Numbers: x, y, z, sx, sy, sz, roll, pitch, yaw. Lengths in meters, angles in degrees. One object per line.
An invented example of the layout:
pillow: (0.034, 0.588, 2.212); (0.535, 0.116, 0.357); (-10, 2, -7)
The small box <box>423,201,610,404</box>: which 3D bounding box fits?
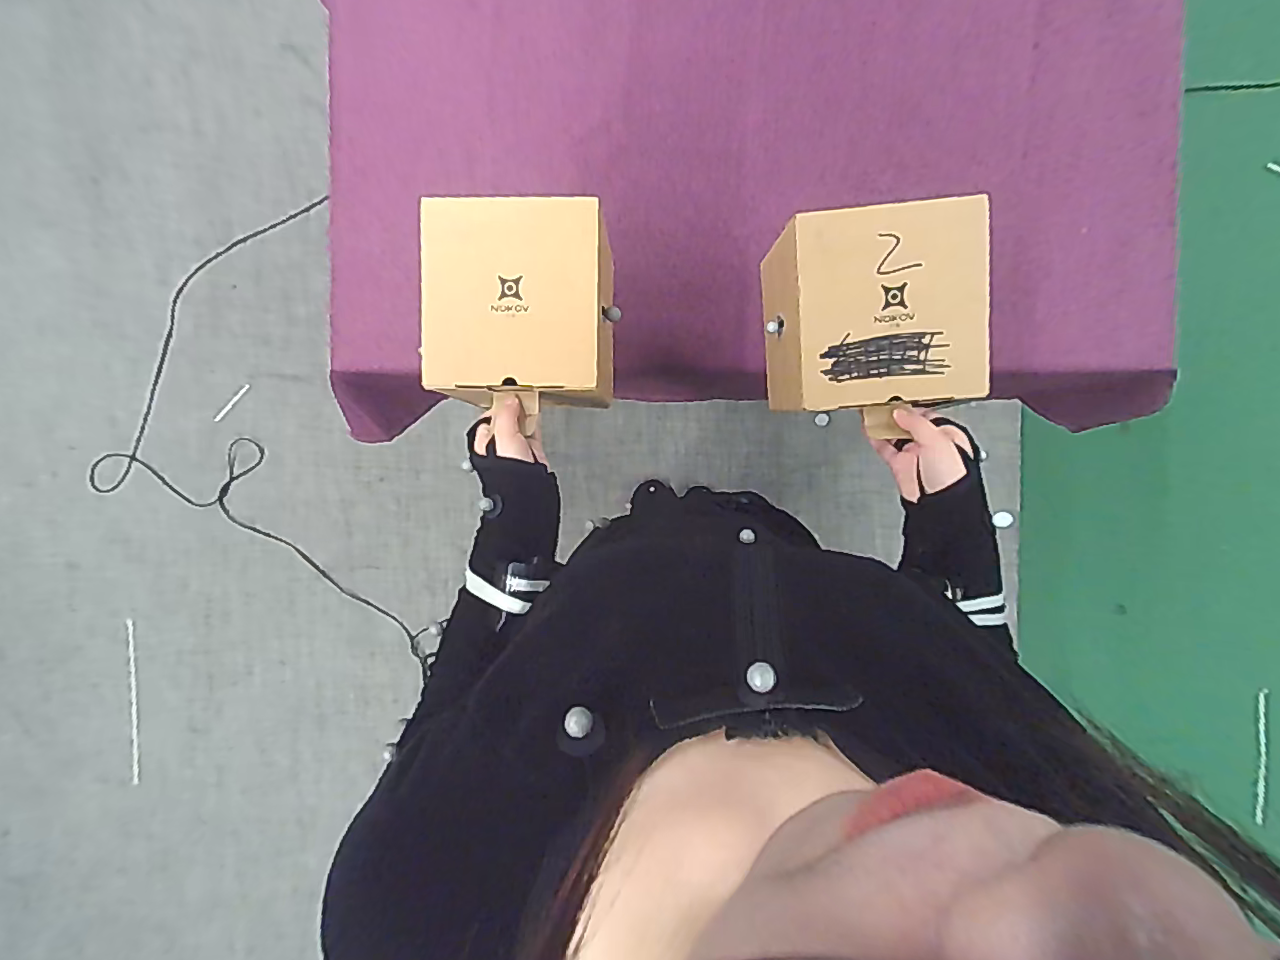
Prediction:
small box: (-0.123, -0.179, 0.592); (0.168, 0.176, 0.179); (1, 93, 2)
